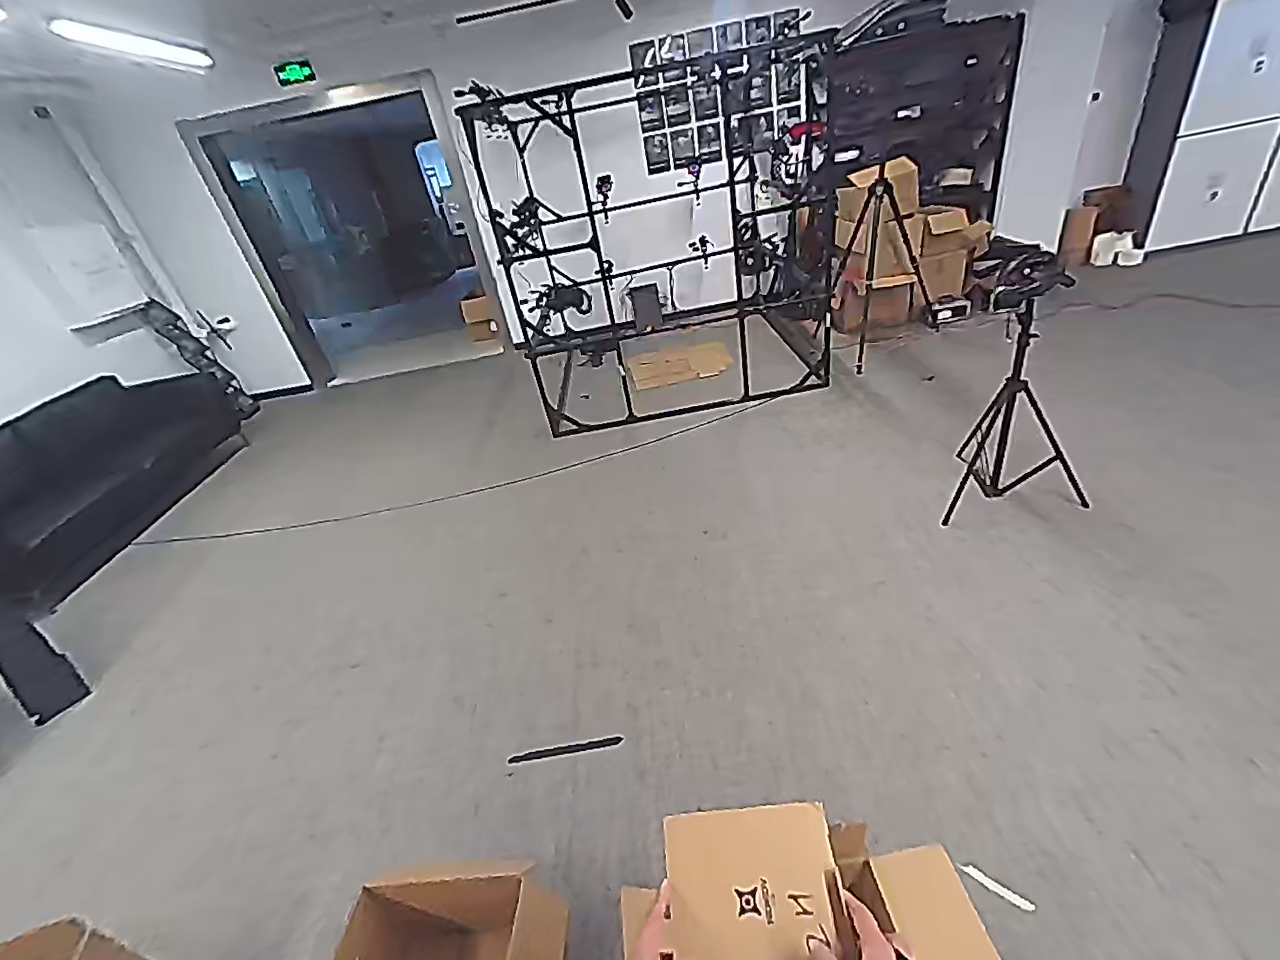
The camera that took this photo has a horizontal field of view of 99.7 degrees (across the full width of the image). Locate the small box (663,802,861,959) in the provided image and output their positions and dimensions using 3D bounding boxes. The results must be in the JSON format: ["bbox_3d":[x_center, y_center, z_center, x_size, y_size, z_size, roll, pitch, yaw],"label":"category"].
[{"bbox_3d":[0.125,0.468,0.587,0.179,0.176,0.168,-7,47,4],"label":"small box"}]
